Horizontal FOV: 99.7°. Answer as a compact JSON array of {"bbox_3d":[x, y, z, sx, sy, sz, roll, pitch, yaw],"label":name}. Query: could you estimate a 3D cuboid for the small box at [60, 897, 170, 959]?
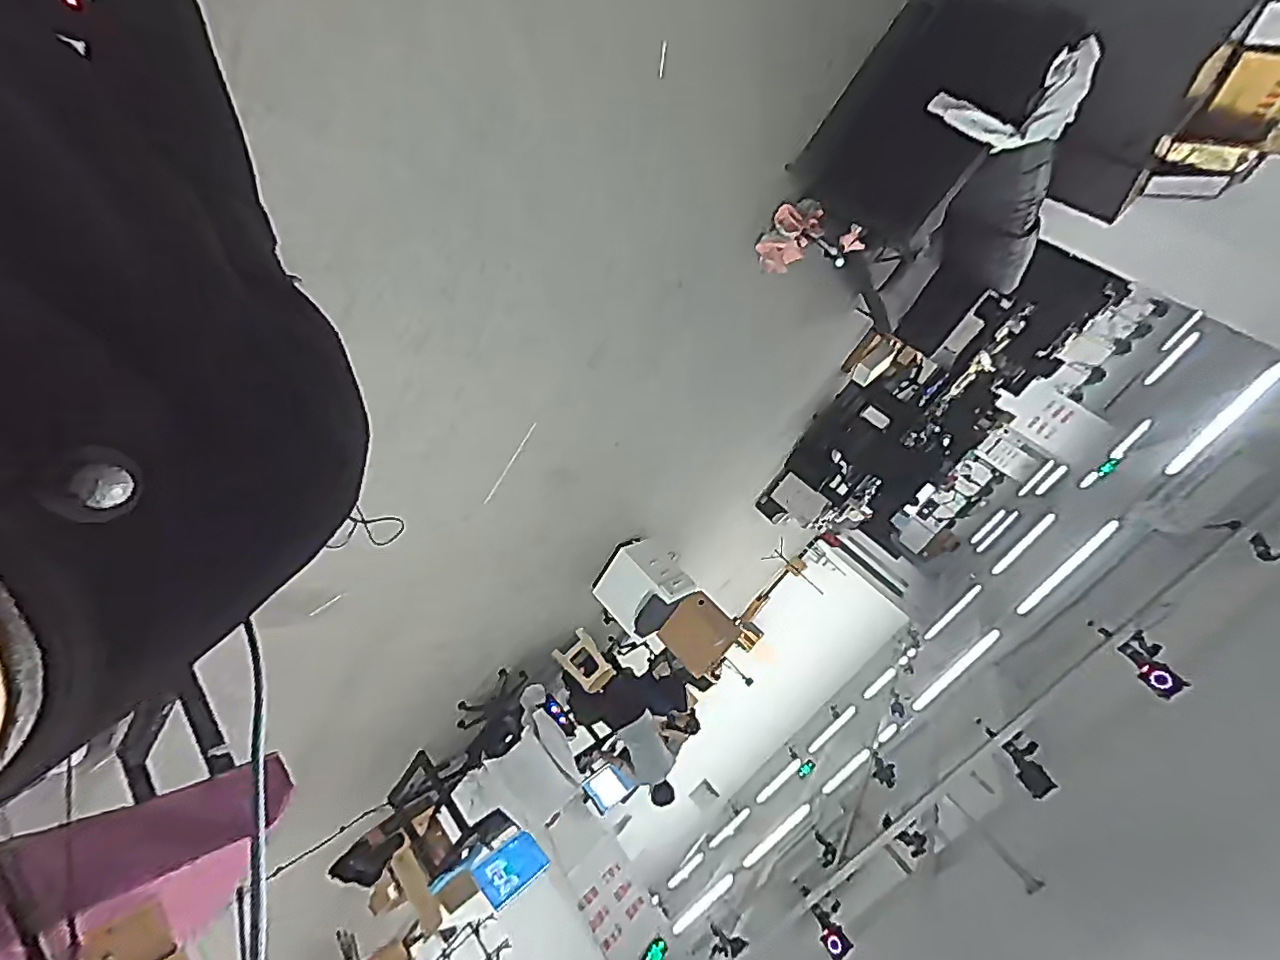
[{"bbox_3d":[-1.353,1.230,1.390,0.168,0.176,0.179,-3,133,-56],"label":"small box"}]
